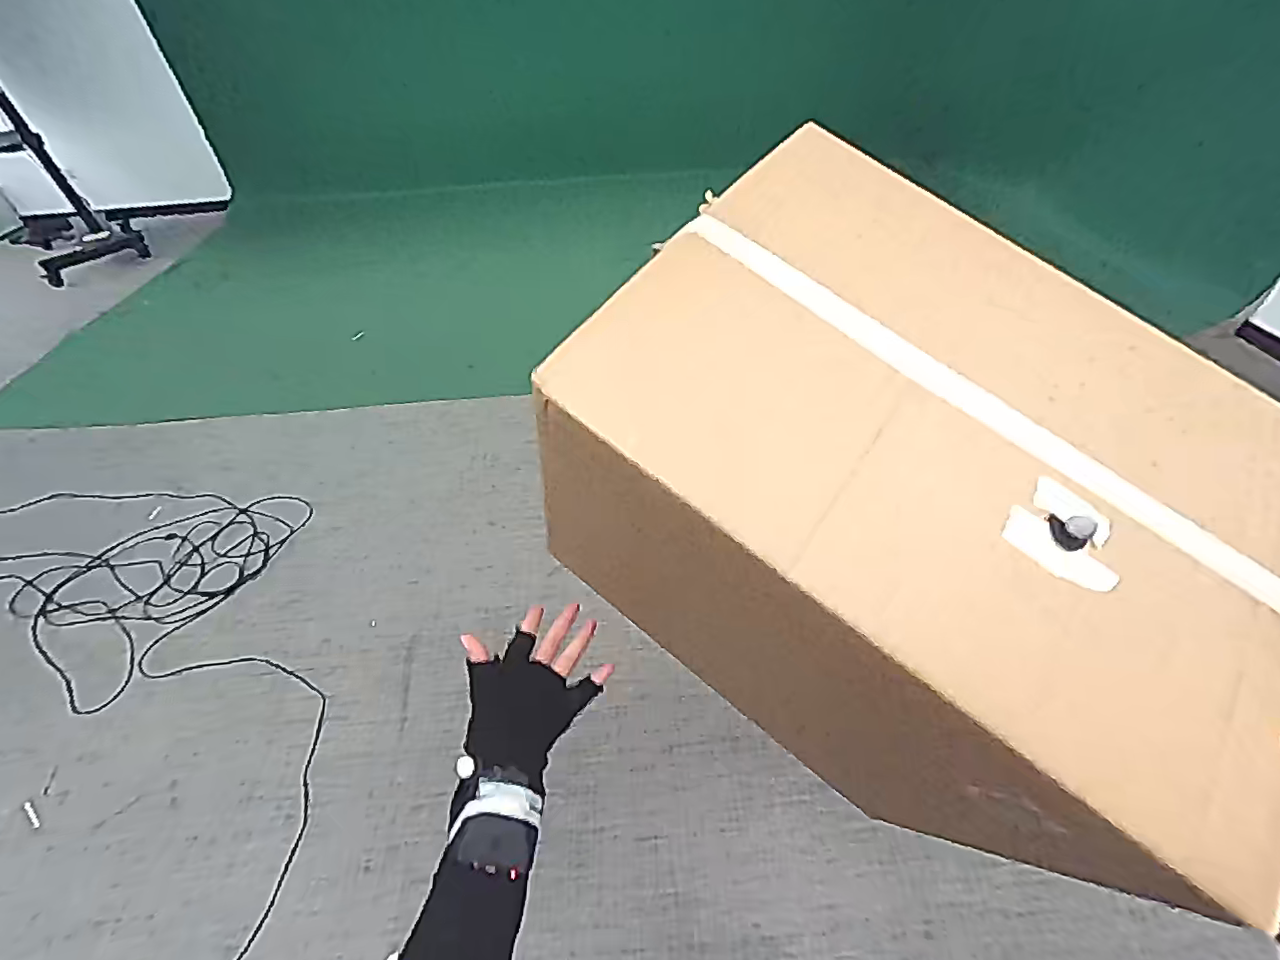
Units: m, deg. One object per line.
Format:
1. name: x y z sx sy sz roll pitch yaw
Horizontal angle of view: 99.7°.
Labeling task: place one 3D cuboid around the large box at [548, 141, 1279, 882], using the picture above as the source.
1. large box: 0.171 0.019 0.459 0.408 0.320 0.320 37 66 8
